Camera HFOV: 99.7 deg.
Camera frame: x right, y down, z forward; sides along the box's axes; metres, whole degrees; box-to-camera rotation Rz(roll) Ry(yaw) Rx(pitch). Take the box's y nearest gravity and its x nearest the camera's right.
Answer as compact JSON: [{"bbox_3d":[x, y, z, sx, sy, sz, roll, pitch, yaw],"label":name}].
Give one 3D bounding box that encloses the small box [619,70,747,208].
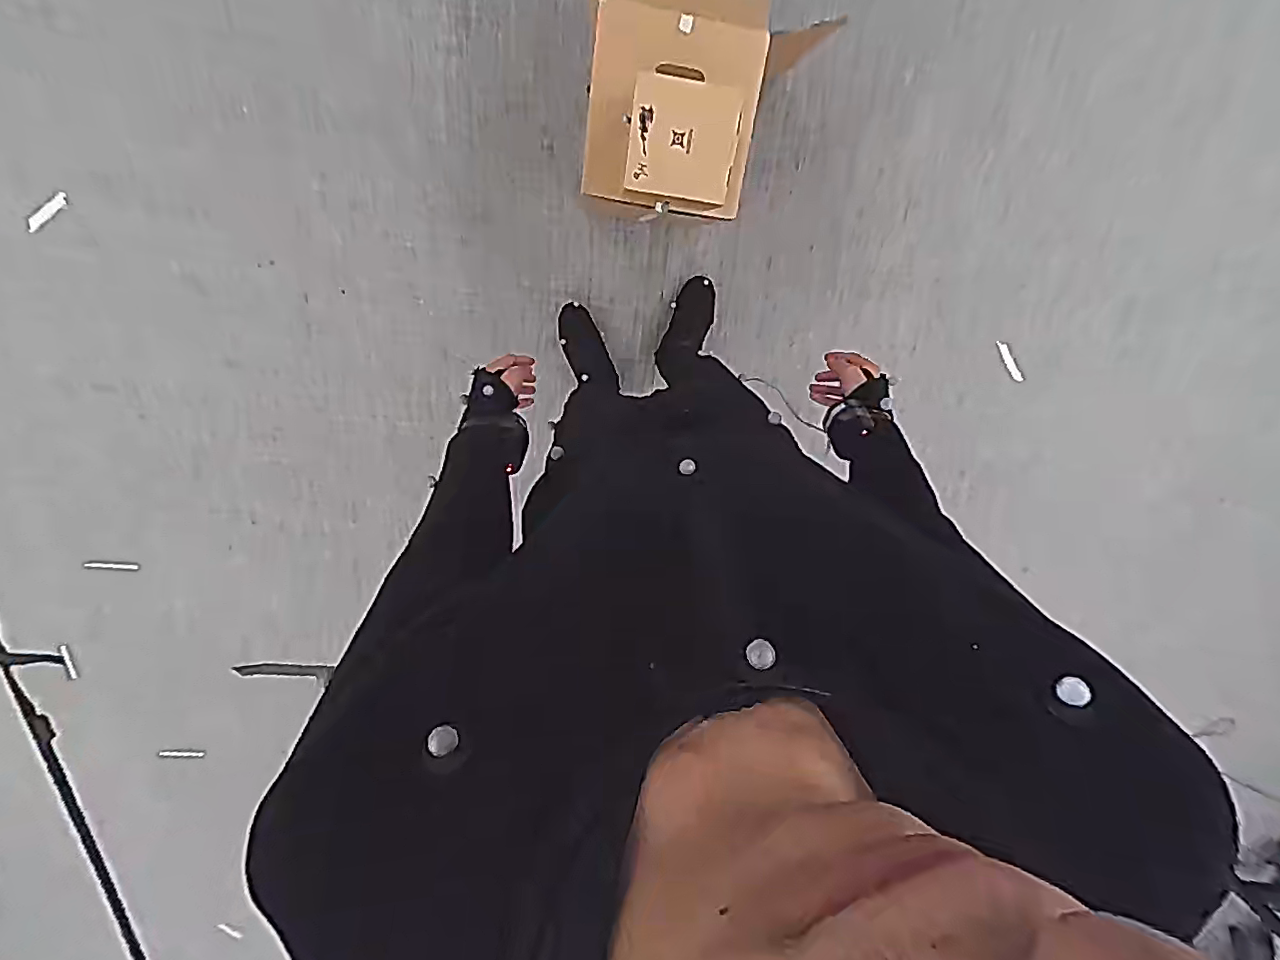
[{"bbox_3d":[0.064,-0.577,0.939,0.179,0.176,0.168,6,113,-8],"label":"small box"}]
